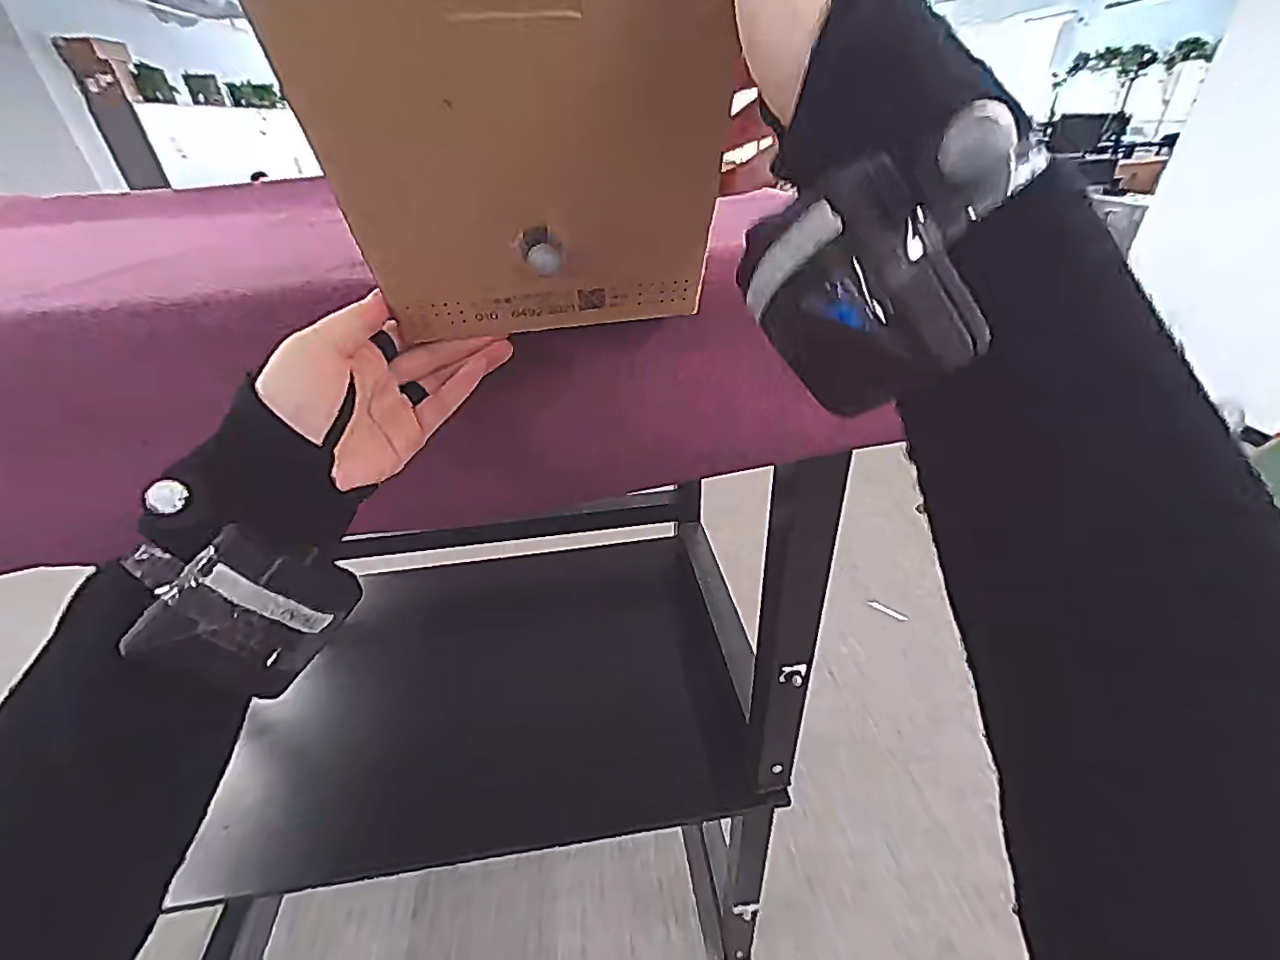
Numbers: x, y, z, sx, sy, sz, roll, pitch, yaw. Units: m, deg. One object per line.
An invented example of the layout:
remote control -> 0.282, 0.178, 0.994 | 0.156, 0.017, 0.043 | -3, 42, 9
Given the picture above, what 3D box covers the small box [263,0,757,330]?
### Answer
small box -> -0.058, -0.200, 0.265 | 0.168, 0.176, 0.179 | -8, 64, -7
